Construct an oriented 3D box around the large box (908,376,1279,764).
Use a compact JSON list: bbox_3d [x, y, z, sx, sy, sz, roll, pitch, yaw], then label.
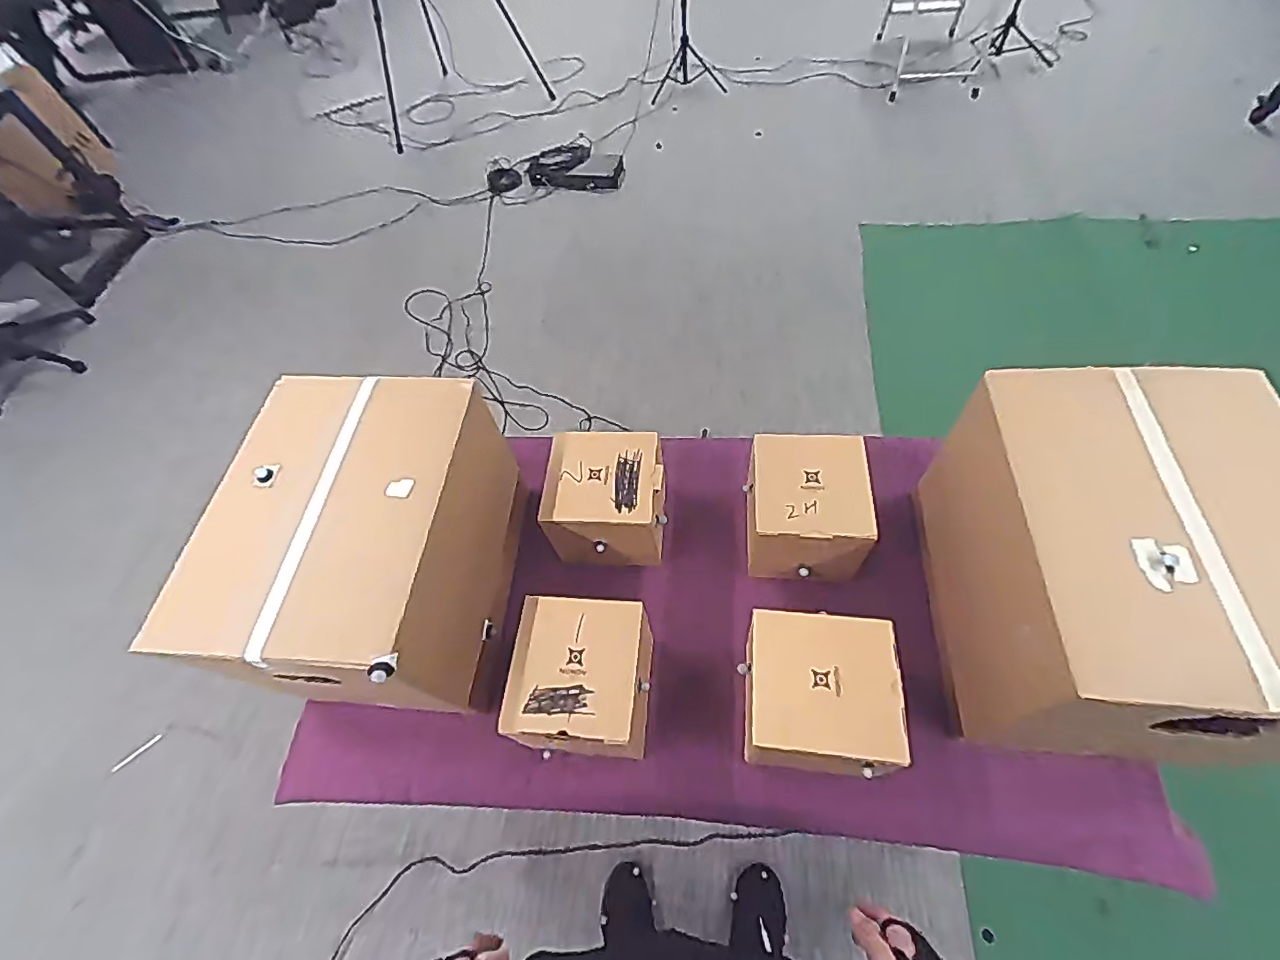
[{"bbox_3d":[0.583,0.119,0.698,0.320,0.320,0.408,2,59,9],"label":"large box"}]
